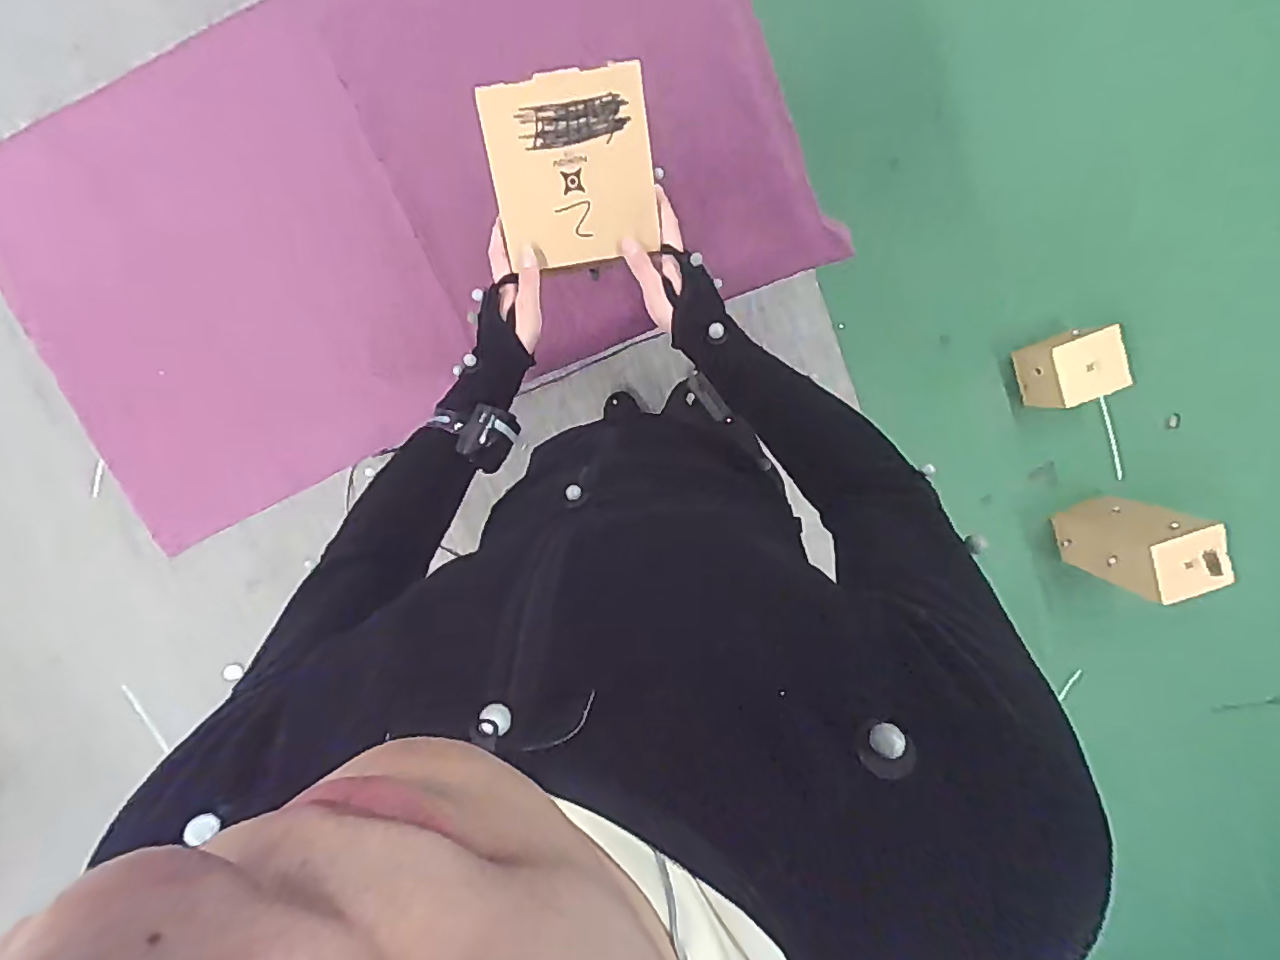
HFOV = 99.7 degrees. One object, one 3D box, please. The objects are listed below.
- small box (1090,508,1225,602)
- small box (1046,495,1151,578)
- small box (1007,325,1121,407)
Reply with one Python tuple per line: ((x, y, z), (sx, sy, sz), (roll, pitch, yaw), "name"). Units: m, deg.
((1.334, 0.187, 1.403), (0.179, 0.176, 0.168), (-21, 99, 4), "small box")
((1.333, 0.156, 1.564), (0.179, 0.176, 0.168), (-21, 99, 4), "small box")
((1.150, -0.306, 1.486), (0.179, 0.176, 0.168), (-22, 99, 3), "small box")
